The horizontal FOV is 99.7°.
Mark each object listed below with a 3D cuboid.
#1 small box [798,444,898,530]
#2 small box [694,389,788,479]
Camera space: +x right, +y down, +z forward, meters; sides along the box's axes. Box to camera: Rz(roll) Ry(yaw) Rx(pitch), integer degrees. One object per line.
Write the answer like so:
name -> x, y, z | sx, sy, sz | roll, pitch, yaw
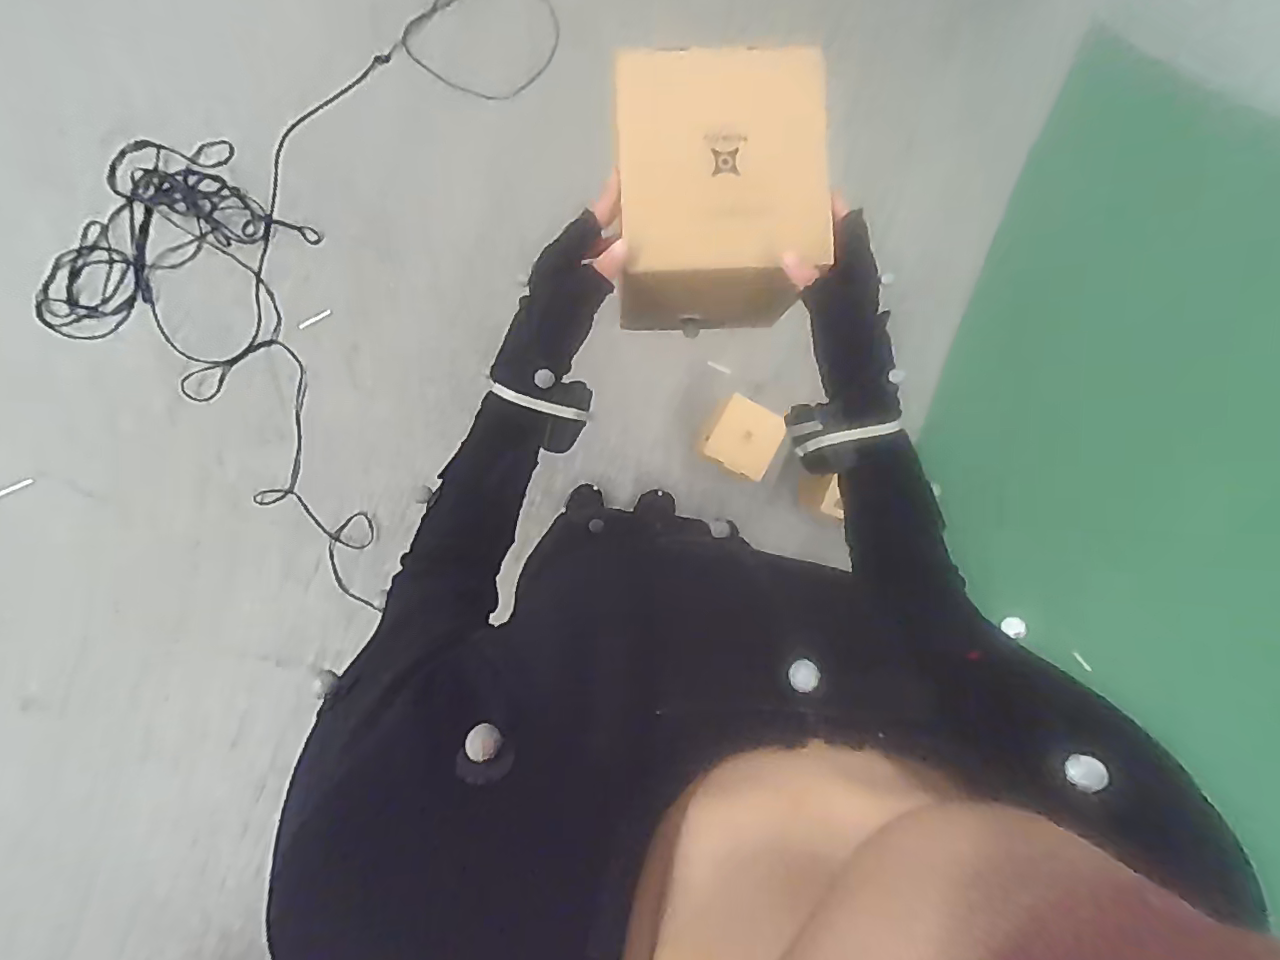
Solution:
small box -> 0.545, 0.019, 1.447 | 0.168, 0.176, 0.179 | 23, 87, -4
small box -> 0.256, -0.115, 1.426 | 0.168, 0.176, 0.179 | 28, 88, -4
